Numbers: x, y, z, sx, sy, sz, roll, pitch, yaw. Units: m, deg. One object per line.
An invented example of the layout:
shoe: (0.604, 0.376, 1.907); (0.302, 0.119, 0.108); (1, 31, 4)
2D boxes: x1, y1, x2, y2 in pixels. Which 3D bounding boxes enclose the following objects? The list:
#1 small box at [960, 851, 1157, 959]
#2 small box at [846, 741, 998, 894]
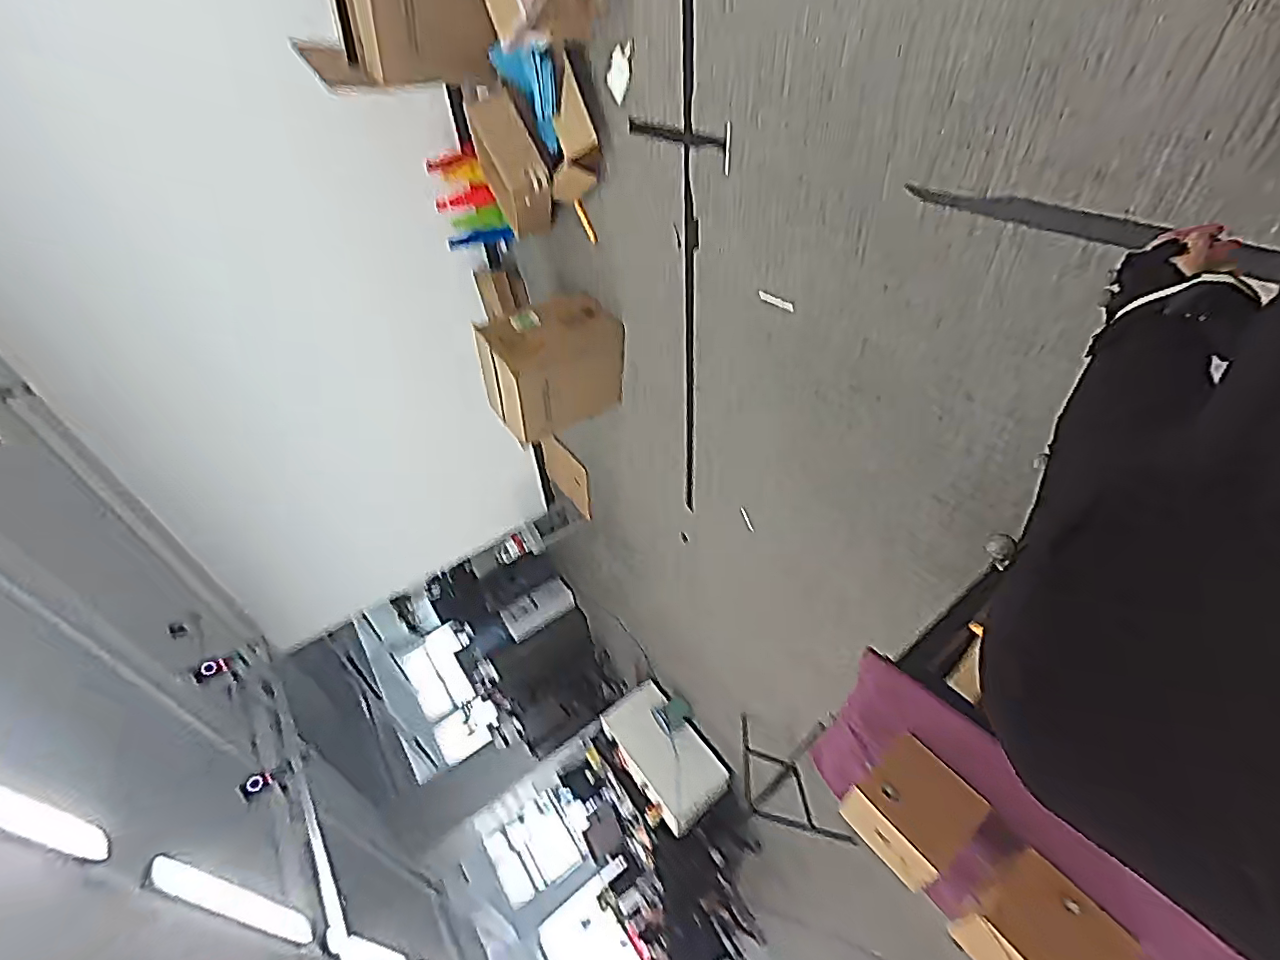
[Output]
small box: (0.683, 0.776, 0.900); (0.179, 0.176, 0.168); (41, 149, 37)
small box: (0.535, 0.639, 1.042); (0.179, 0.176, 0.168); (41, 151, 37)
